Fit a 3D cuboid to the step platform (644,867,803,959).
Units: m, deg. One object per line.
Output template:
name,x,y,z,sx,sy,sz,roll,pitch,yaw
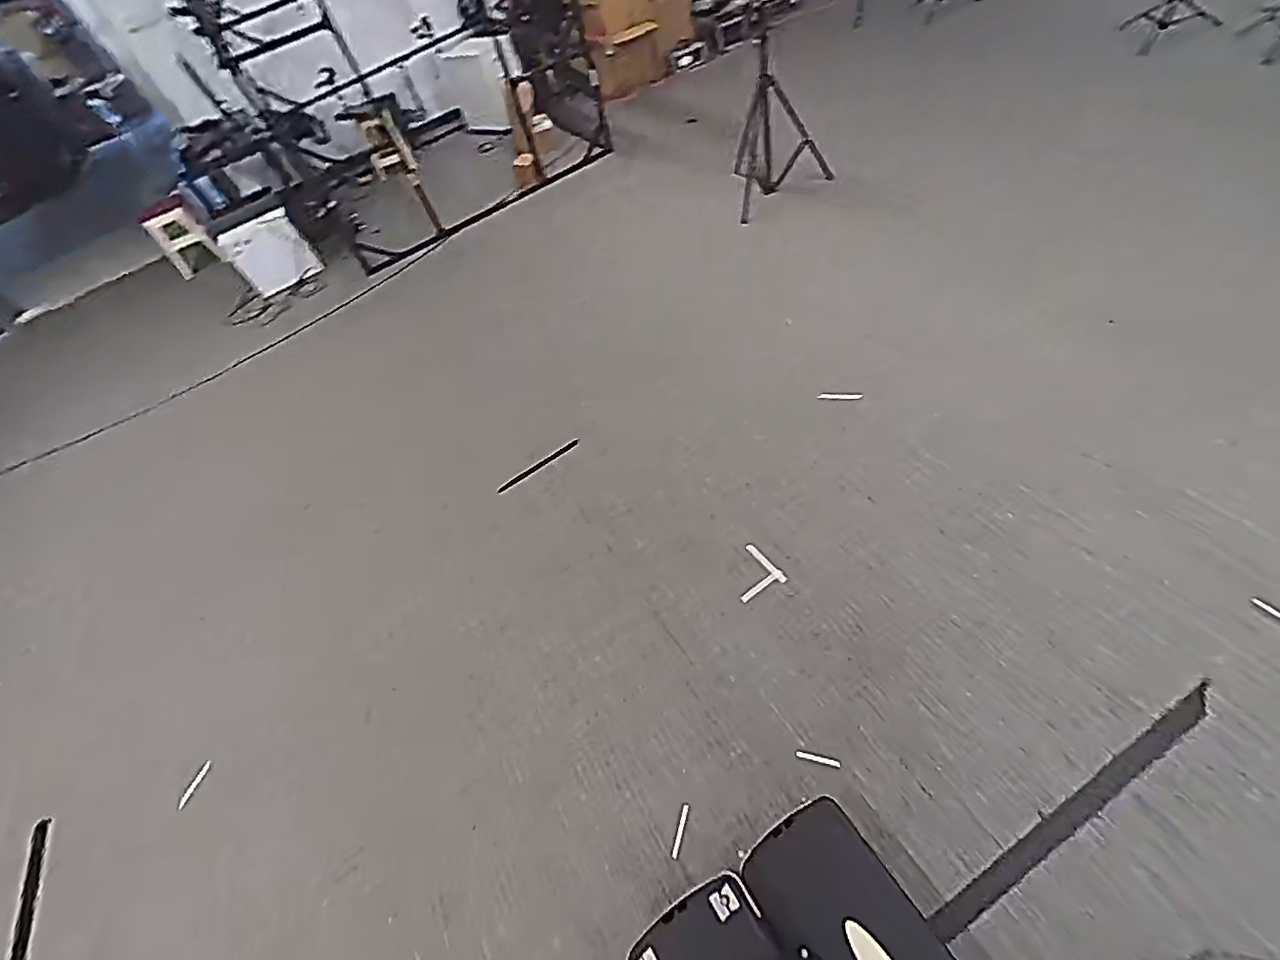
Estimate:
step platform,0.291,1.137,1.003,0.286,0.204,0.684,-33,50,-11
